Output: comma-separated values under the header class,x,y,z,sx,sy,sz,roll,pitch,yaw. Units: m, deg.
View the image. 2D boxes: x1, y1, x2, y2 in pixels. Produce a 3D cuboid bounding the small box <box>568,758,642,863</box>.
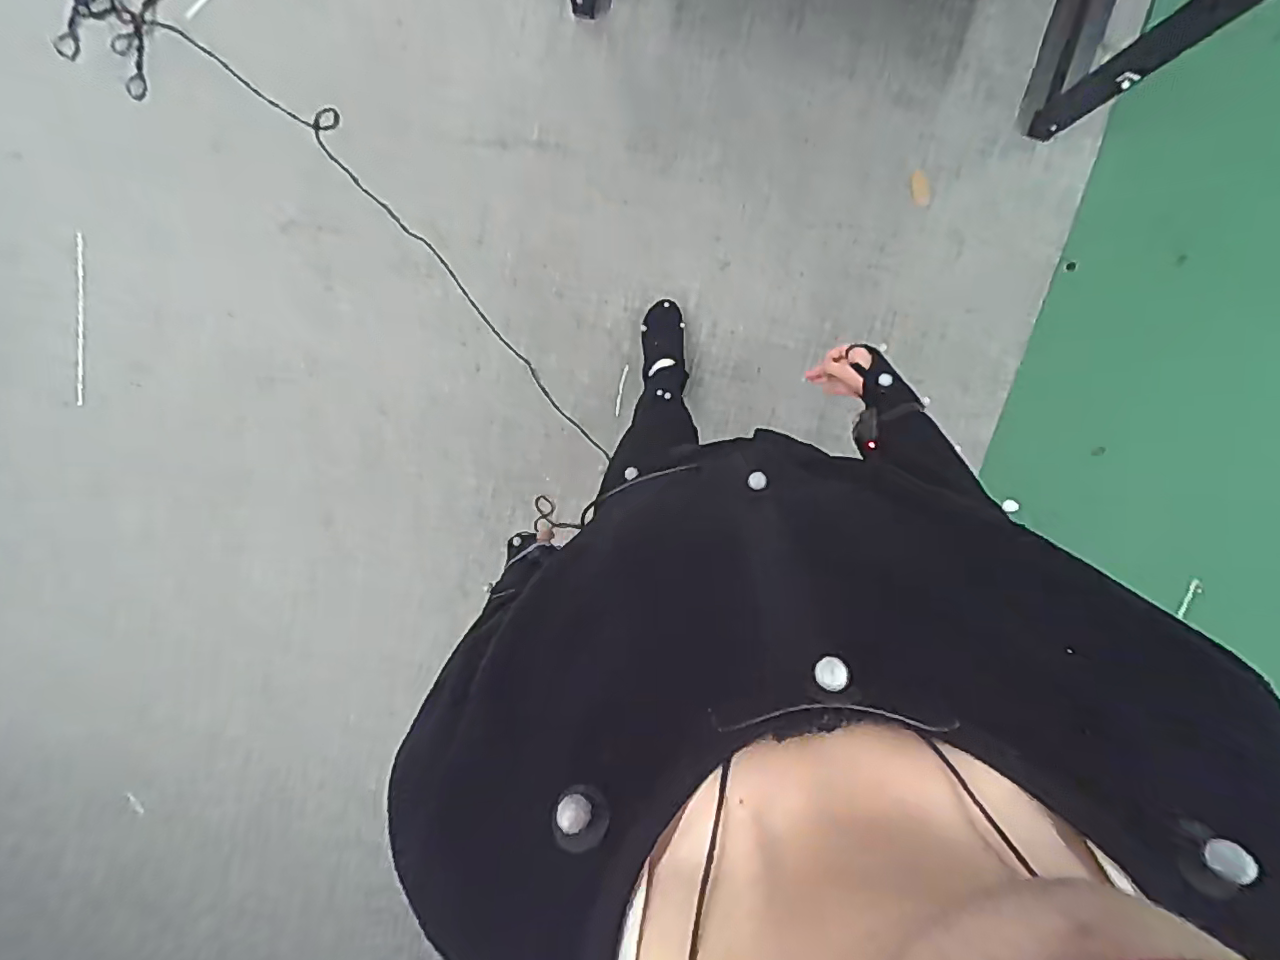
class,x,y,z,sx,sy,sz,roll,pitch,yaw
small box,-0.096,0.957,1.581,0.168,0.176,0.179,19,101,0
